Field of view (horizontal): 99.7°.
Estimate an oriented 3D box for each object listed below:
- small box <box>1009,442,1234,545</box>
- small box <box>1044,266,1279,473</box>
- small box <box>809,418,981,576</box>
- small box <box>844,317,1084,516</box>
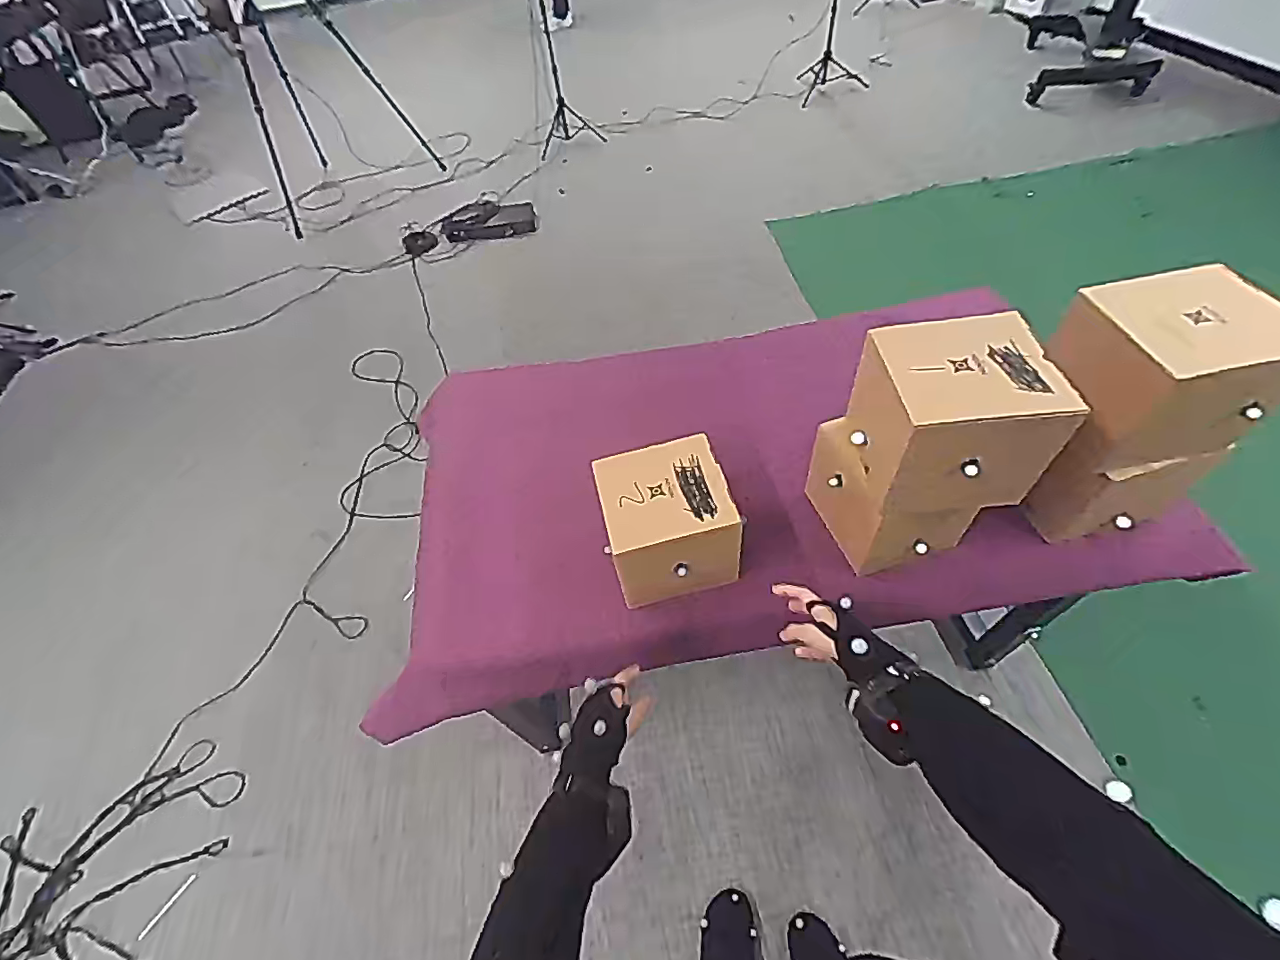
[{"bbox_3d":[0.663,-0.029,0.791,0.179,0.176,0.168,-15,52,-3],"label":"small box"},{"bbox_3d":[0.632,-0.131,0.666,0.179,0.176,0.168,-11,52,1],"label":"small box"},{"bbox_3d":[0.368,0.013,0.802,0.168,0.176,0.179,-17,52,-4],"label":"small box"},{"bbox_3d":[0.369,-0.072,0.659,0.179,0.176,0.168,-6,51,5],"label":"small box"}]
